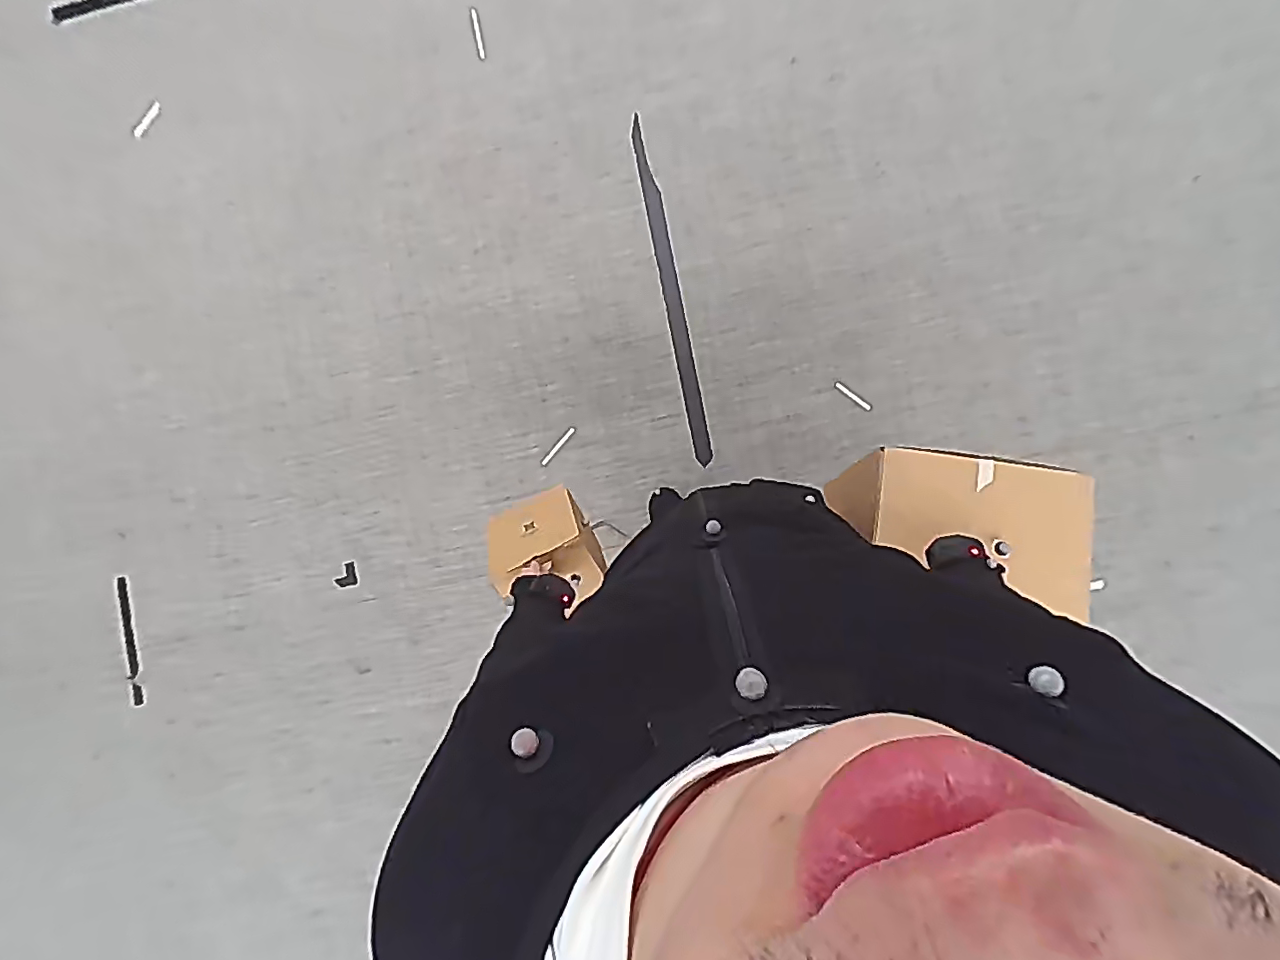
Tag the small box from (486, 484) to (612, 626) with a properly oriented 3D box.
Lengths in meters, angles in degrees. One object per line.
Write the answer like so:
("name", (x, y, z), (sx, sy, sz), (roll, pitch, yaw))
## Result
("small box", (-0.167, 0.144, 0.999), (0.168, 0.179, 0.176), (-25, 125, -2))
